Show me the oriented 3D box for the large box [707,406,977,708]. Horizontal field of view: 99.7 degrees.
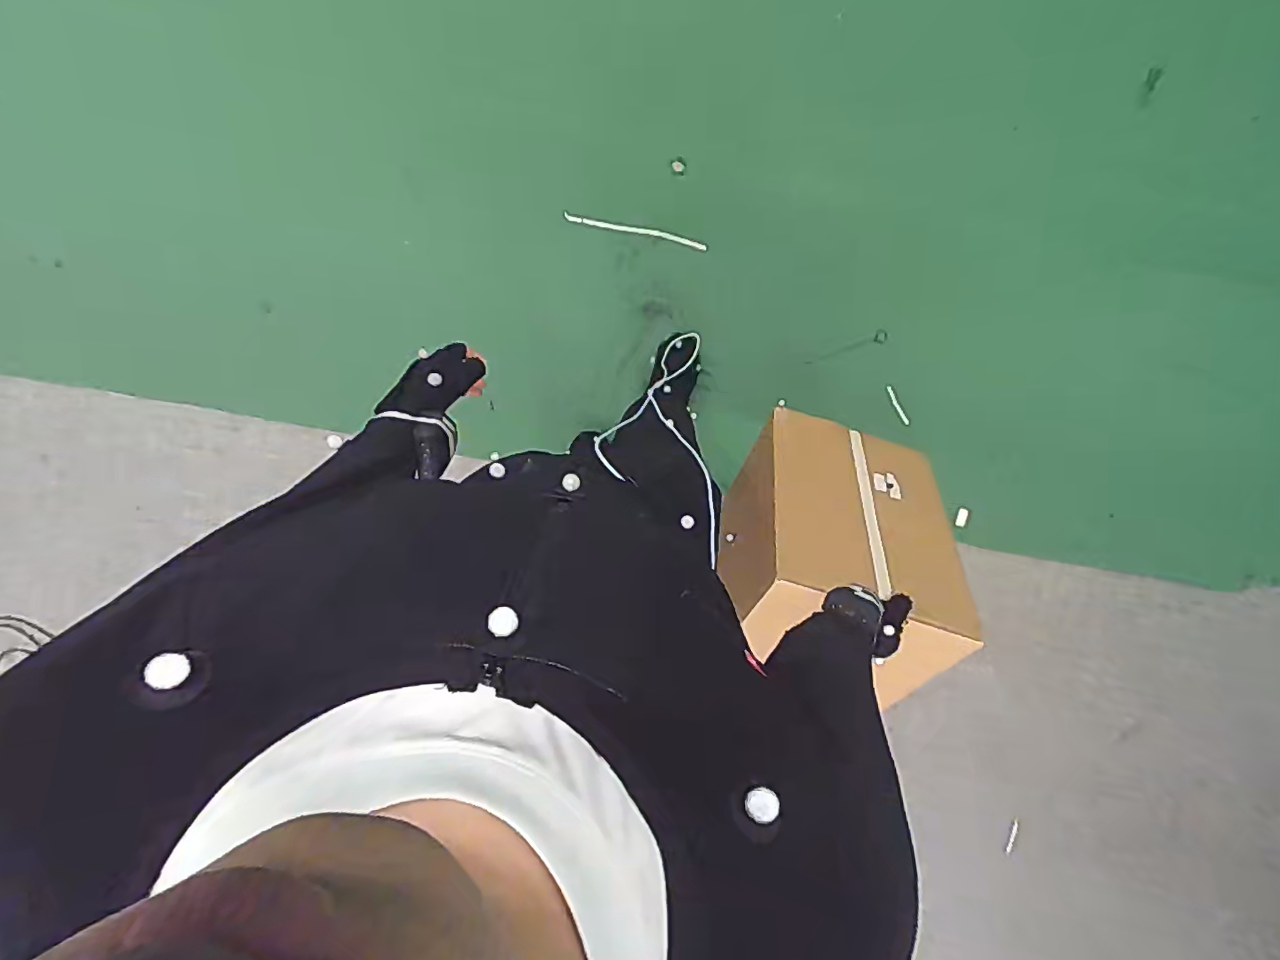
[{"bbox_3d":[0.326,0.138,0.995,0.320,0.408,0.320,18,134,-4],"label":"large box"}]
